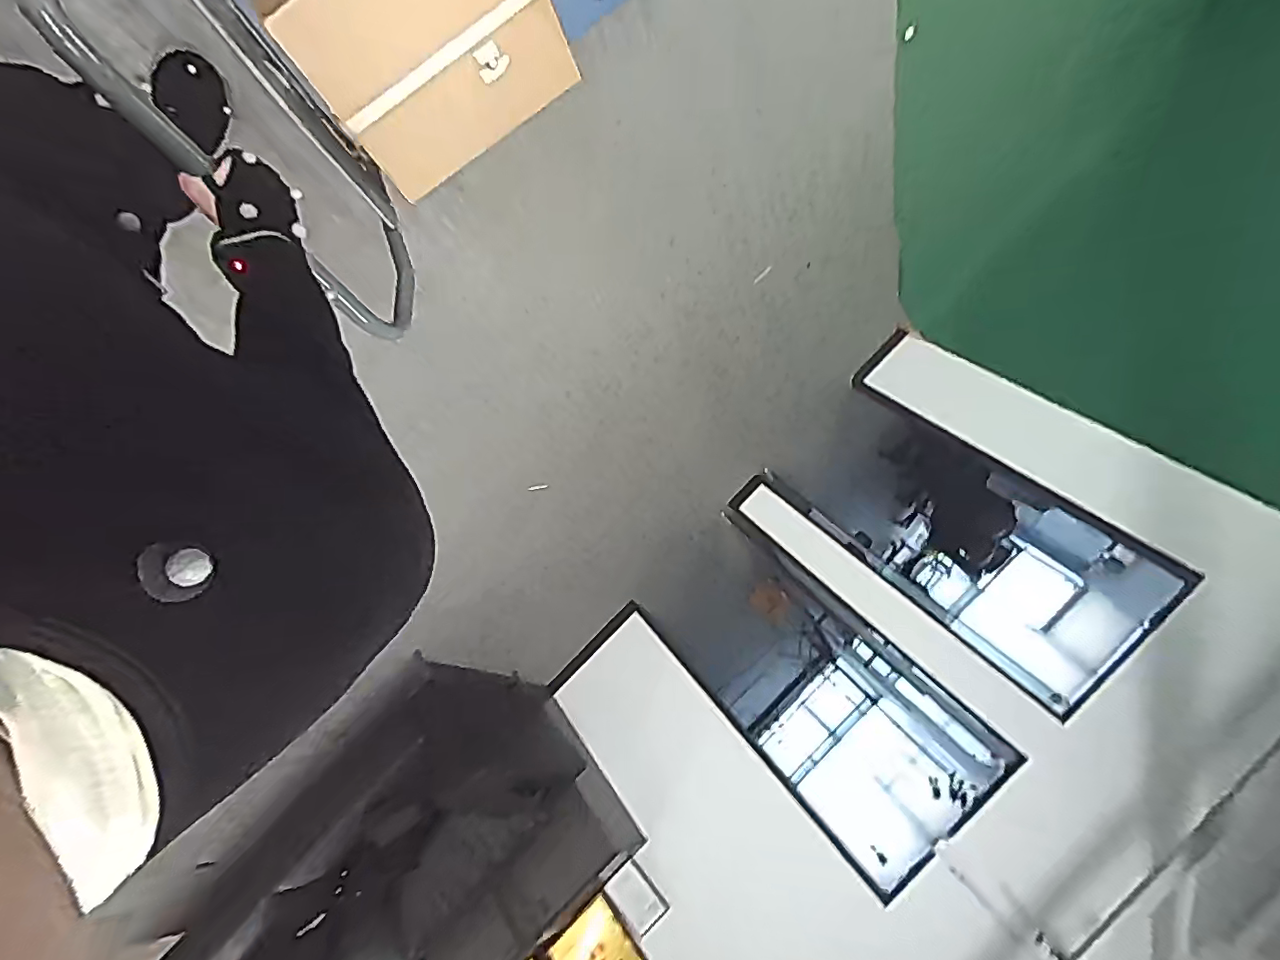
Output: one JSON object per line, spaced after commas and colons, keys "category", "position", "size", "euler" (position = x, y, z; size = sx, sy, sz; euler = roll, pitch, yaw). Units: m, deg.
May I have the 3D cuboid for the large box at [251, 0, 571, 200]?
{"category": "large box", "position": [-0.408, -0.810, 0.976], "size": [0.408, 0.320, 0.320], "euler": [-35, 147, 2]}
